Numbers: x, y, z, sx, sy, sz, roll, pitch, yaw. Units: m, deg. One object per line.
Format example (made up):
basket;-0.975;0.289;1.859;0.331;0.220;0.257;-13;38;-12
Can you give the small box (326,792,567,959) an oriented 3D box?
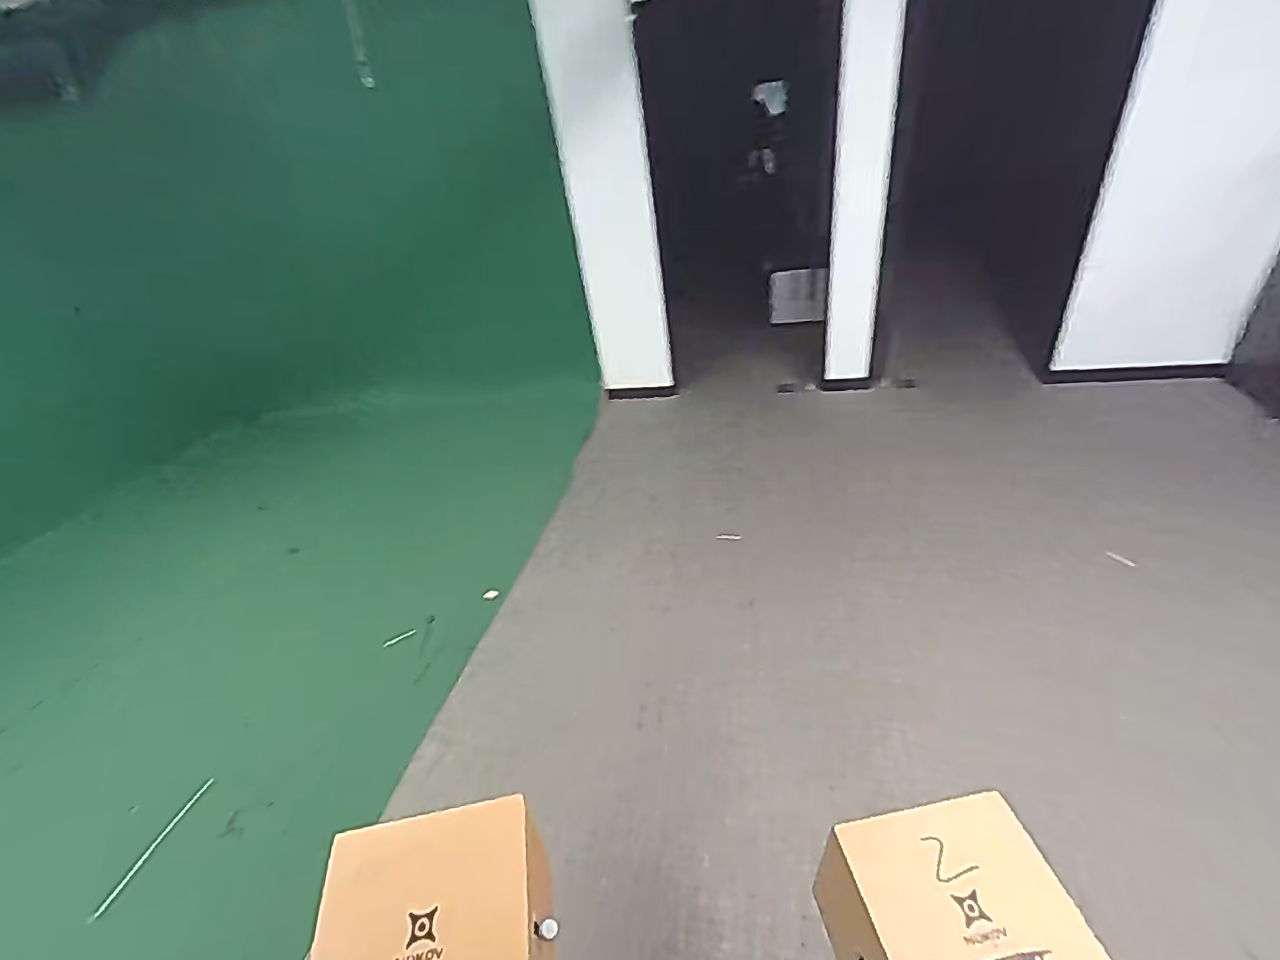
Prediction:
small box;-0.156;0.410;0.472;0.168;0.176;0.179;-8;42;-7
